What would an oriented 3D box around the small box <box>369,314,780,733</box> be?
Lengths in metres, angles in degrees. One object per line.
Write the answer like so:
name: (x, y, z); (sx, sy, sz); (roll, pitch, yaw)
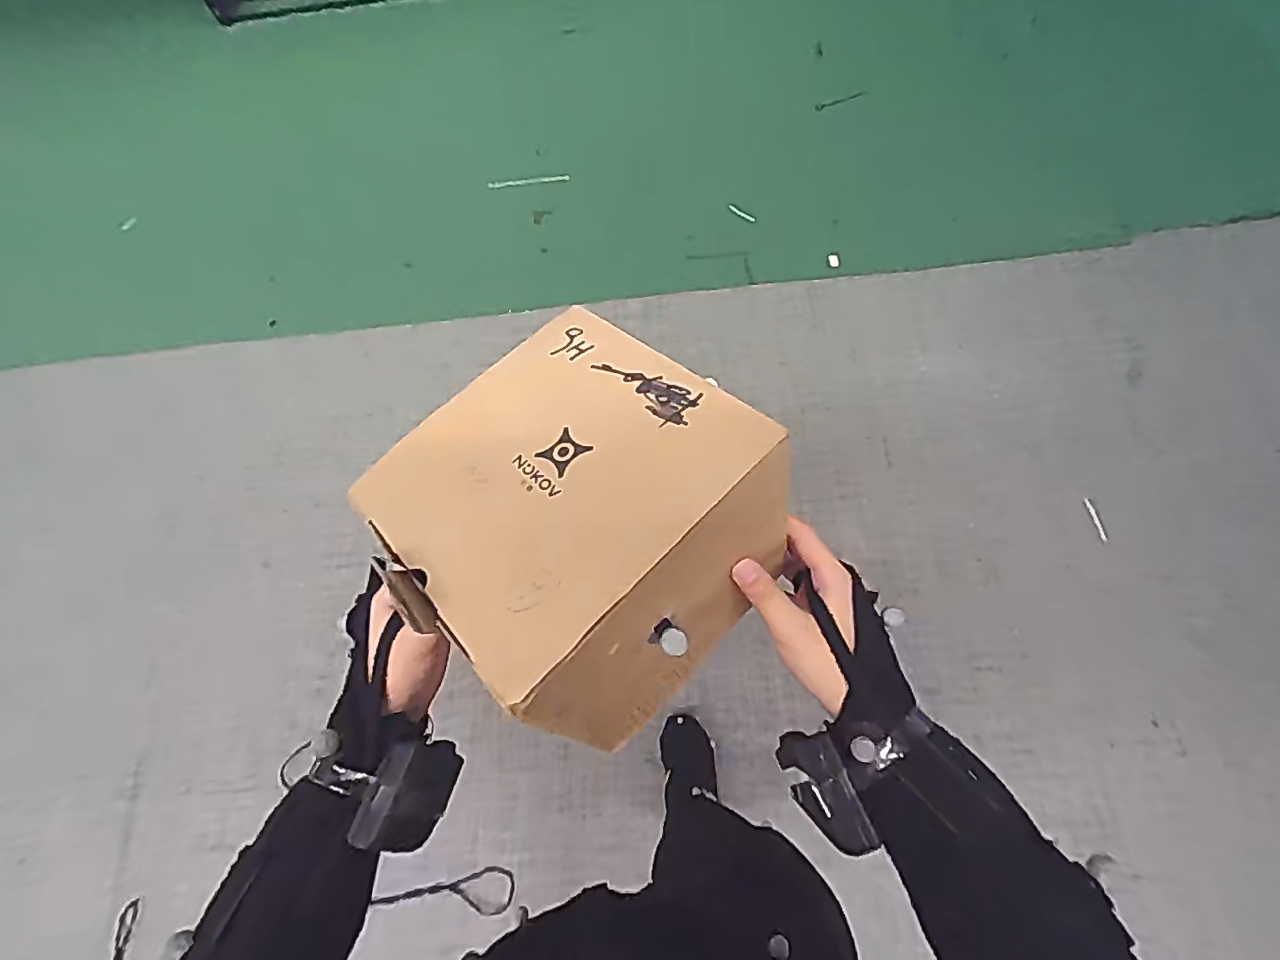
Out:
small box: (-0.024, 0.034, 0.352); (0.179, 0.176, 0.168); (-43, 58, -14)
